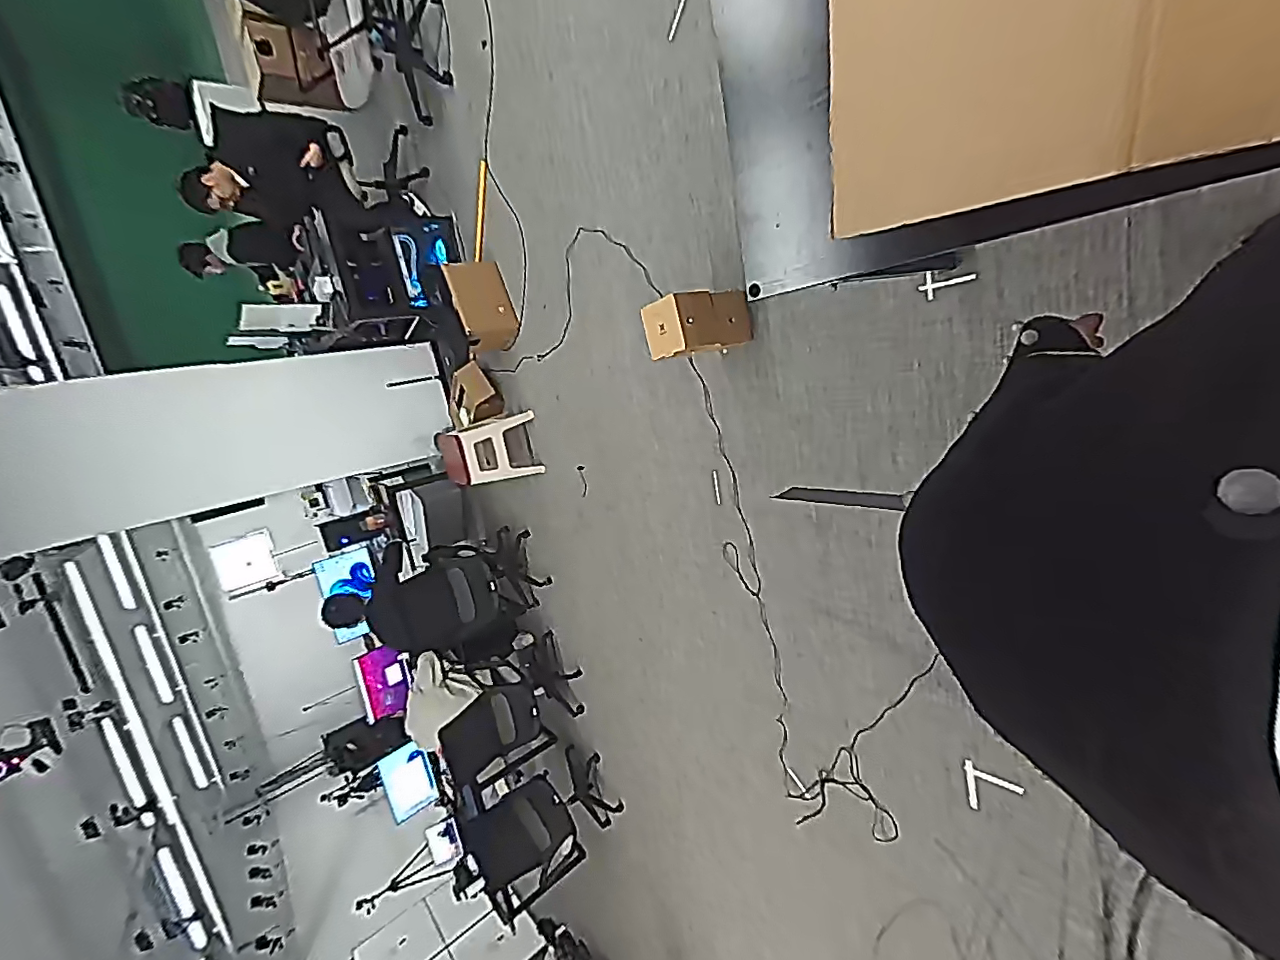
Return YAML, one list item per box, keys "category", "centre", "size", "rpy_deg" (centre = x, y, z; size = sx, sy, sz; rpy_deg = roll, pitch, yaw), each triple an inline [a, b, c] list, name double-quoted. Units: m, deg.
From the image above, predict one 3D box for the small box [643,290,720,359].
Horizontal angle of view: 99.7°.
- category: "small box"
  centre: [0.140, -0.508, 1.760]
  size: [0.168, 0.176, 0.179]
  rpy_deg: [-6, 100, 52]

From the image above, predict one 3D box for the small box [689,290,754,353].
- category: "small box"
  centre: [0.266, -0.546, 1.858]
  size: [0.168, 0.176, 0.179]
  rpy_deg: [-1, 105, 52]
